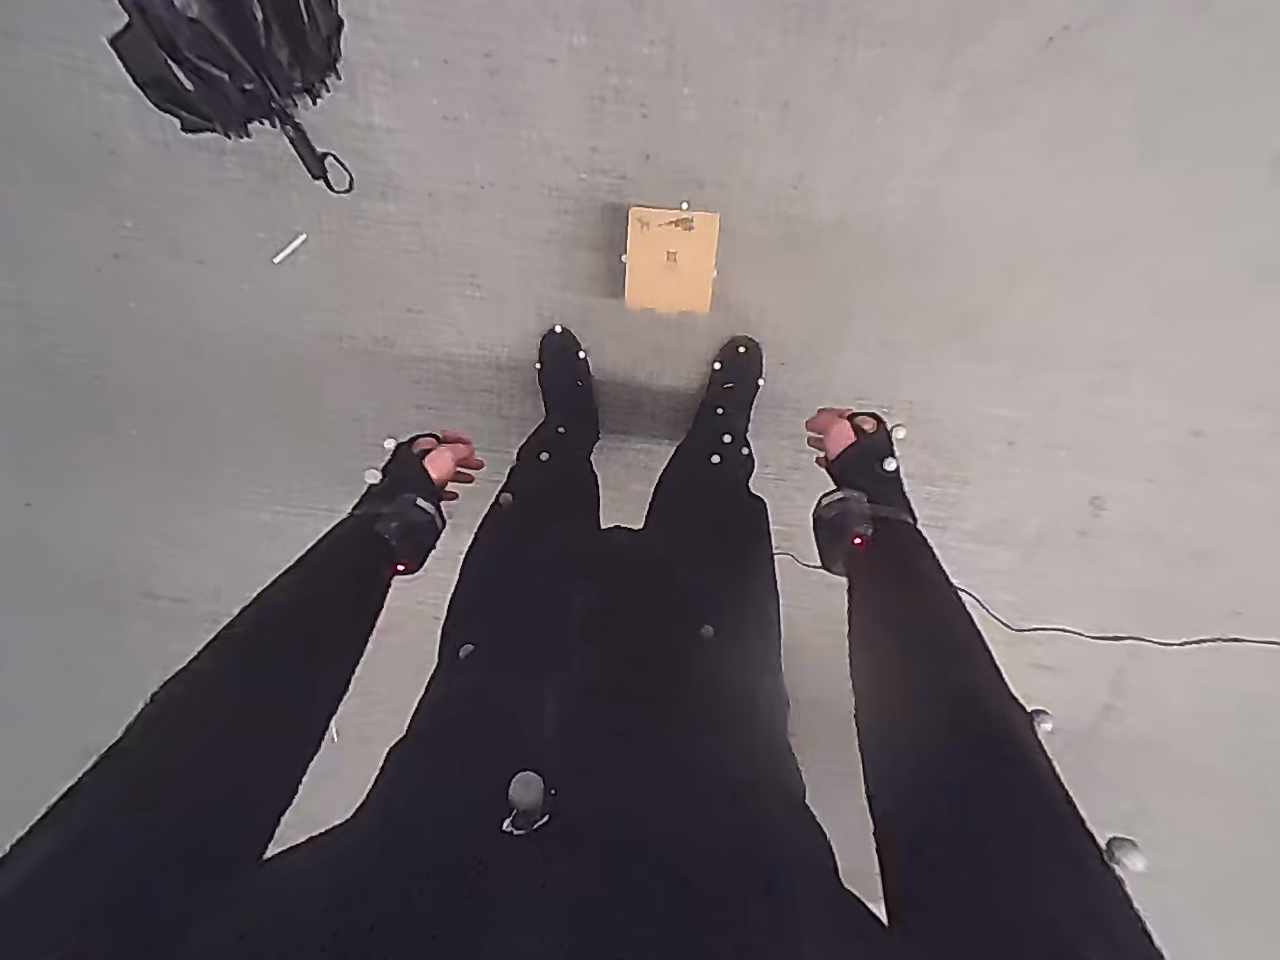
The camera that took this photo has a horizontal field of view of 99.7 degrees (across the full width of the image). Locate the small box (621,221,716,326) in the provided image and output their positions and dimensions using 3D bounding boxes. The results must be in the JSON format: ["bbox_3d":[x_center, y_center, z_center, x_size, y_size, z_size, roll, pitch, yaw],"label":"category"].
[{"bbox_3d":[0.054,-0.415,1.082,0.168,0.176,0.179,4,113,0],"label":"small box"}]
